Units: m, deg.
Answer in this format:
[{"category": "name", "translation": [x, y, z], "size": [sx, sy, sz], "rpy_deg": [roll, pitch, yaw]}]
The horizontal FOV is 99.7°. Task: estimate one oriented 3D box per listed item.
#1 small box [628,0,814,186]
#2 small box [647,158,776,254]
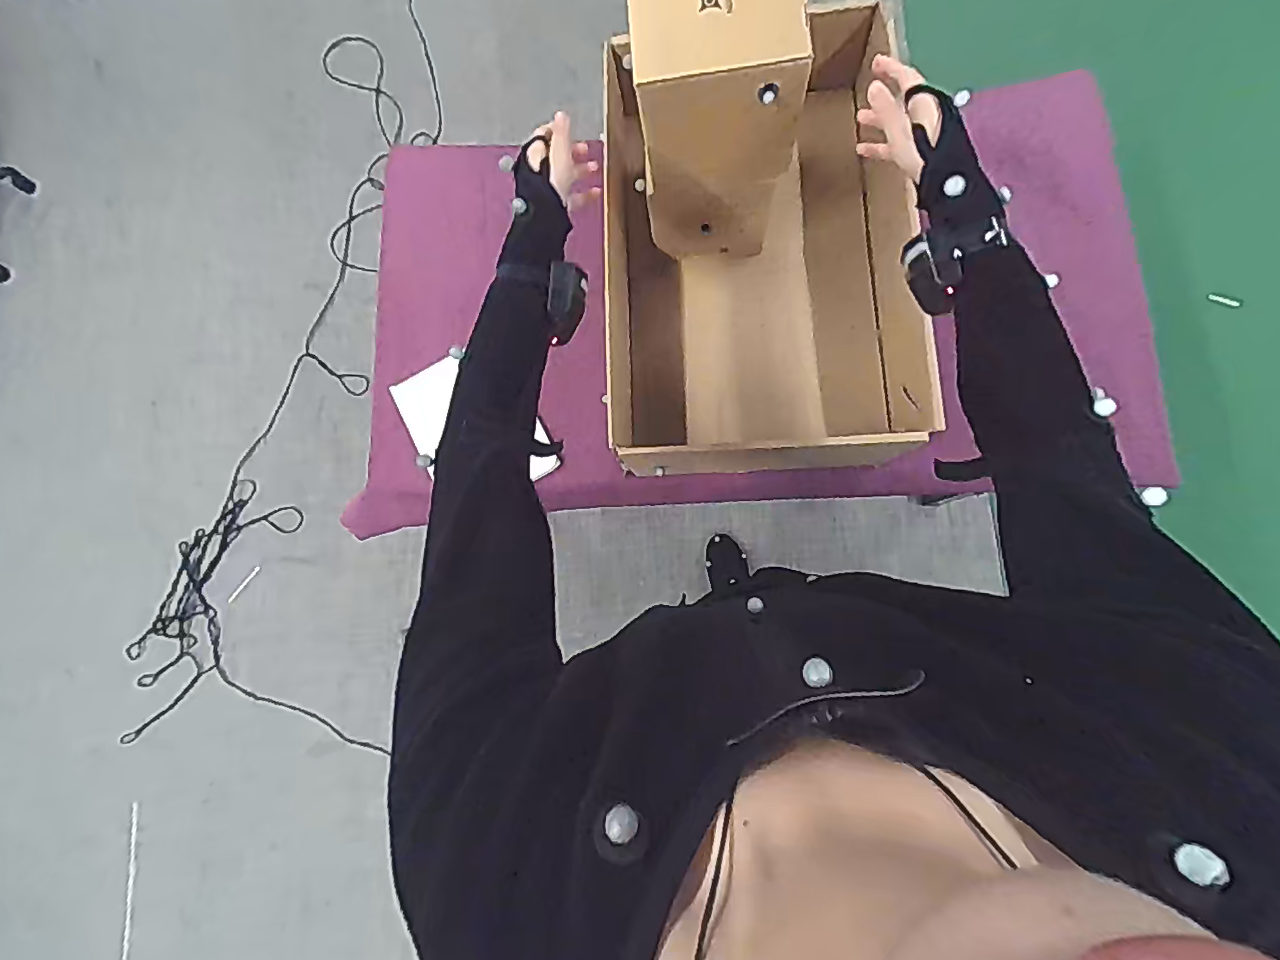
[{"category": "small box", "translation": [0.086, -0.463, 0.611], "size": [0.179, 0.176, 0.168], "rpy_deg": [-5, 81, 6]}, {"category": "small box", "translation": [0.100, -0.442, 0.770], "size": [0.168, 0.176, 0.179], "rpy_deg": [-2, 82, 7]}]
